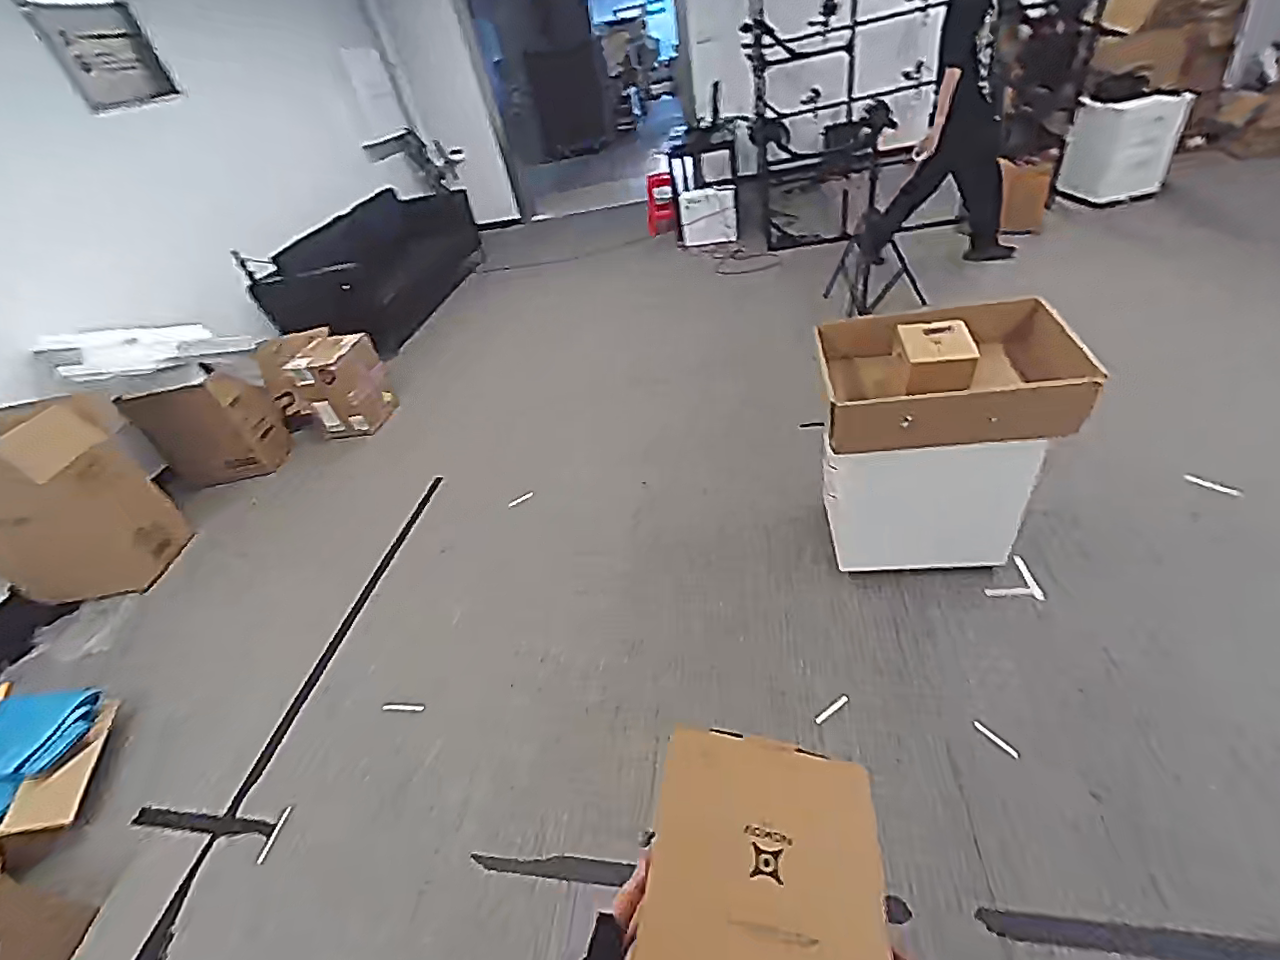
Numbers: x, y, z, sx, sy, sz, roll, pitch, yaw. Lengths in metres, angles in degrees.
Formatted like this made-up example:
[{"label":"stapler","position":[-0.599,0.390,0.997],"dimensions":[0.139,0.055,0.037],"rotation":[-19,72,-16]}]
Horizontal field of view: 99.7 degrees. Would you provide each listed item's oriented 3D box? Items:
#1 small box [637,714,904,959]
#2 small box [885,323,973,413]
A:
[{"label":"small box","position":[0.095,0.332,0.441],"dimensions":[0.168,0.176,0.179],"rotation":[10,38,9]},{"label":"small box","position":[0.784,-0.305,1.486],"dimensions":[0.168,0.176,0.179],"rotation":[-3,46,13]}]
